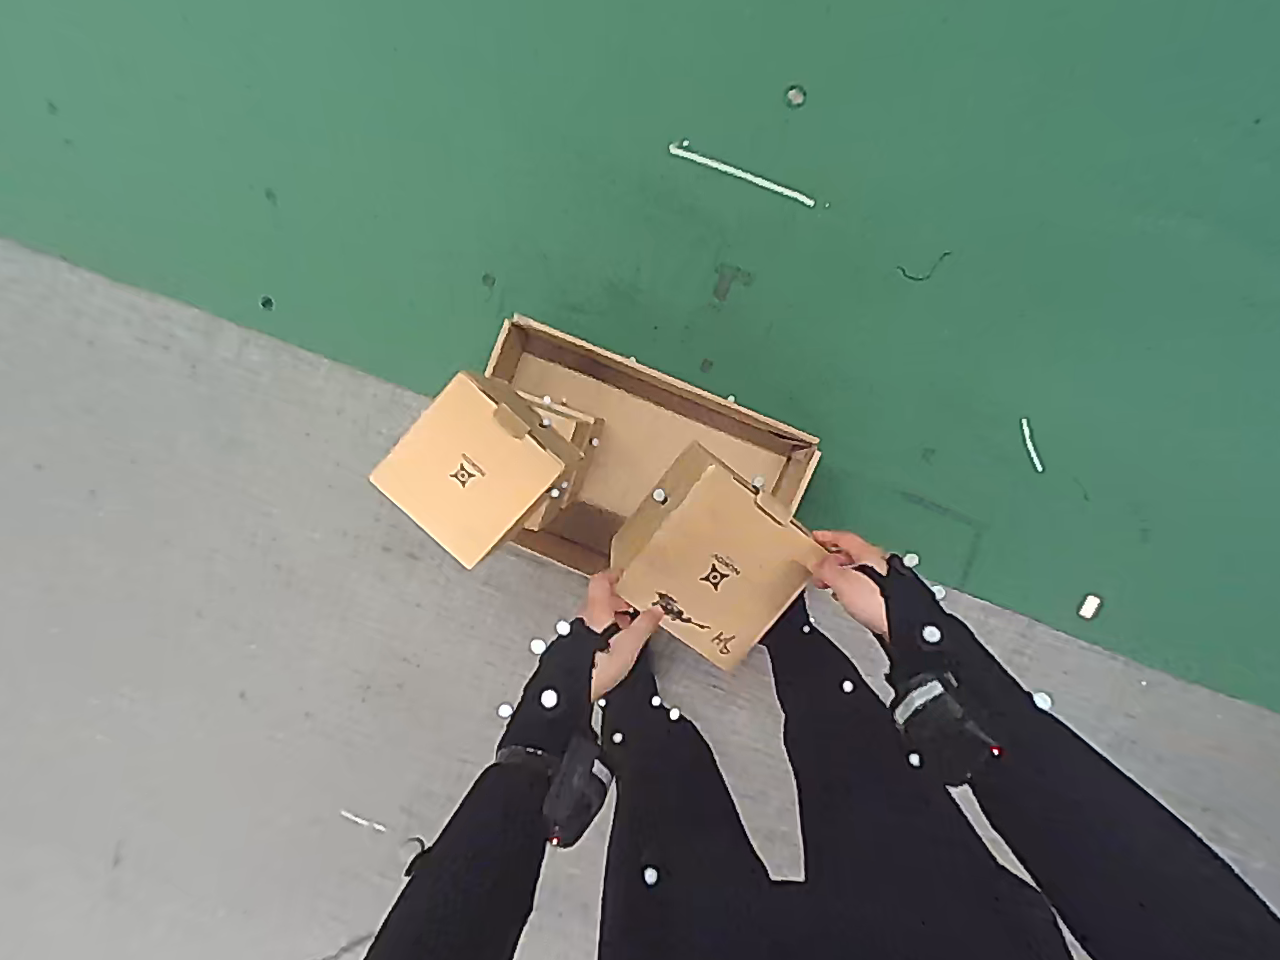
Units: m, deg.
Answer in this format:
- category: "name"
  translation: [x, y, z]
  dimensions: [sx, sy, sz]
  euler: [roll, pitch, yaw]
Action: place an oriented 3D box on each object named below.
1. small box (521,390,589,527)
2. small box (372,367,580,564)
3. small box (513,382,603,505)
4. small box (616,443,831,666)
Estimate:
- category: "small box"
  translation: [-0.191, -0.046, 0.871]
  dimensions: [0.168, 0.176, 0.179]
  euler: [21, 96, -1]
- category: "small box"
  translation: [-0.197, -0.021, 0.710]
  dimensions: [0.168, 0.176, 0.179]
  euler: [43, 95, -2]
- category: "small box"
  translation: [-0.175, -0.071, 1.032]
  dimensions: [0.168, 0.176, 0.179]
  euler: [21, 96, 0]
- category: "small box"
  translation: [0.084, 0.074, 0.647]
  dimensions: [0.168, 0.176, 0.179]
  euler: [37, 98, -9]
